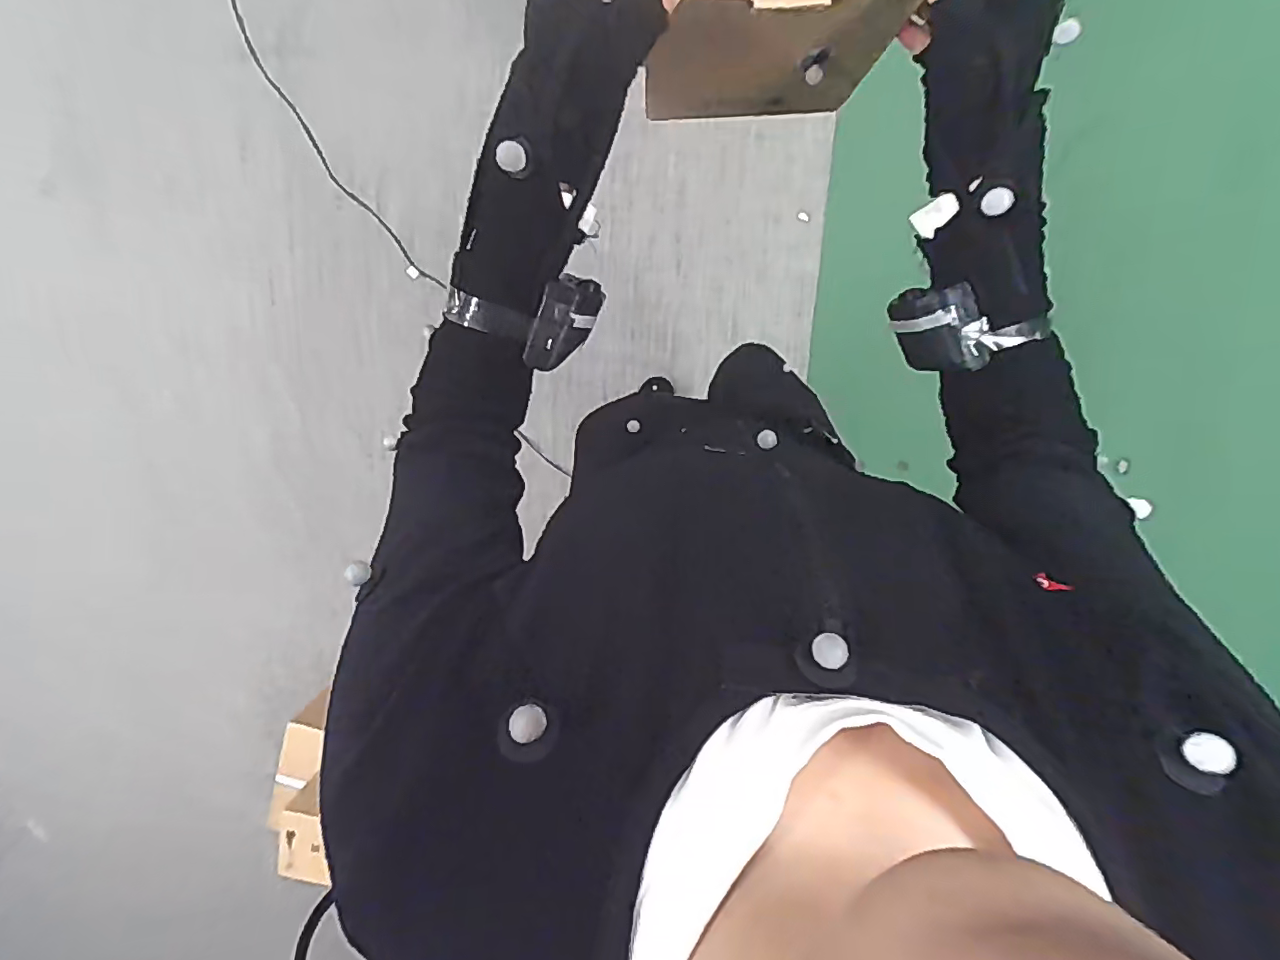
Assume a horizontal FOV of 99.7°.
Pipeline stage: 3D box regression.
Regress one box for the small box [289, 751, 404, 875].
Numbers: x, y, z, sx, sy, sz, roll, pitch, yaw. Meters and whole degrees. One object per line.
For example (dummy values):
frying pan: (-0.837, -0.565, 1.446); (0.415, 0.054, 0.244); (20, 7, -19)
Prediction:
small box: (-0.667, 0.758, 1.245); (0.179, 0.176, 0.168); (10, 101, 0)
